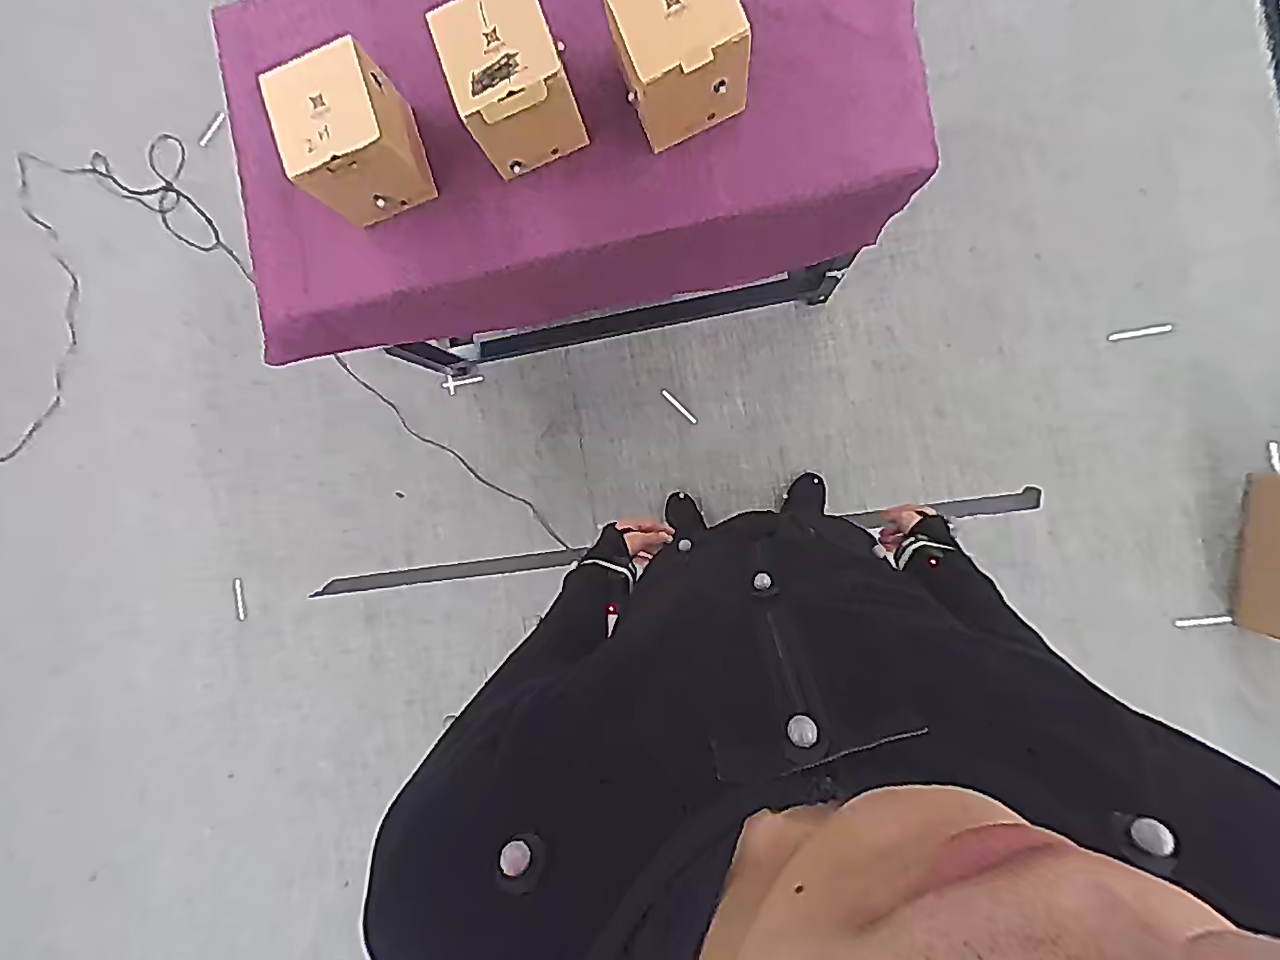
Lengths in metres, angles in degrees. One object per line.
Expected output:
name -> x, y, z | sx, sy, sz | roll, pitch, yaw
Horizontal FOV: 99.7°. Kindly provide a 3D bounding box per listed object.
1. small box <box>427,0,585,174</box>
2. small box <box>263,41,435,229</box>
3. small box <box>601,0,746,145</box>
small box -> -0.203, -0.630, 0.870 | 0.168, 0.176, 0.179 | -20, 87, 7
small box -> -0.475, -0.562, 0.906 | 0.168, 0.176, 0.179 | -18, 88, 8
small box -> 0.055, -0.661, 0.836 | 0.168, 0.176, 0.179 | -22, 87, 7
